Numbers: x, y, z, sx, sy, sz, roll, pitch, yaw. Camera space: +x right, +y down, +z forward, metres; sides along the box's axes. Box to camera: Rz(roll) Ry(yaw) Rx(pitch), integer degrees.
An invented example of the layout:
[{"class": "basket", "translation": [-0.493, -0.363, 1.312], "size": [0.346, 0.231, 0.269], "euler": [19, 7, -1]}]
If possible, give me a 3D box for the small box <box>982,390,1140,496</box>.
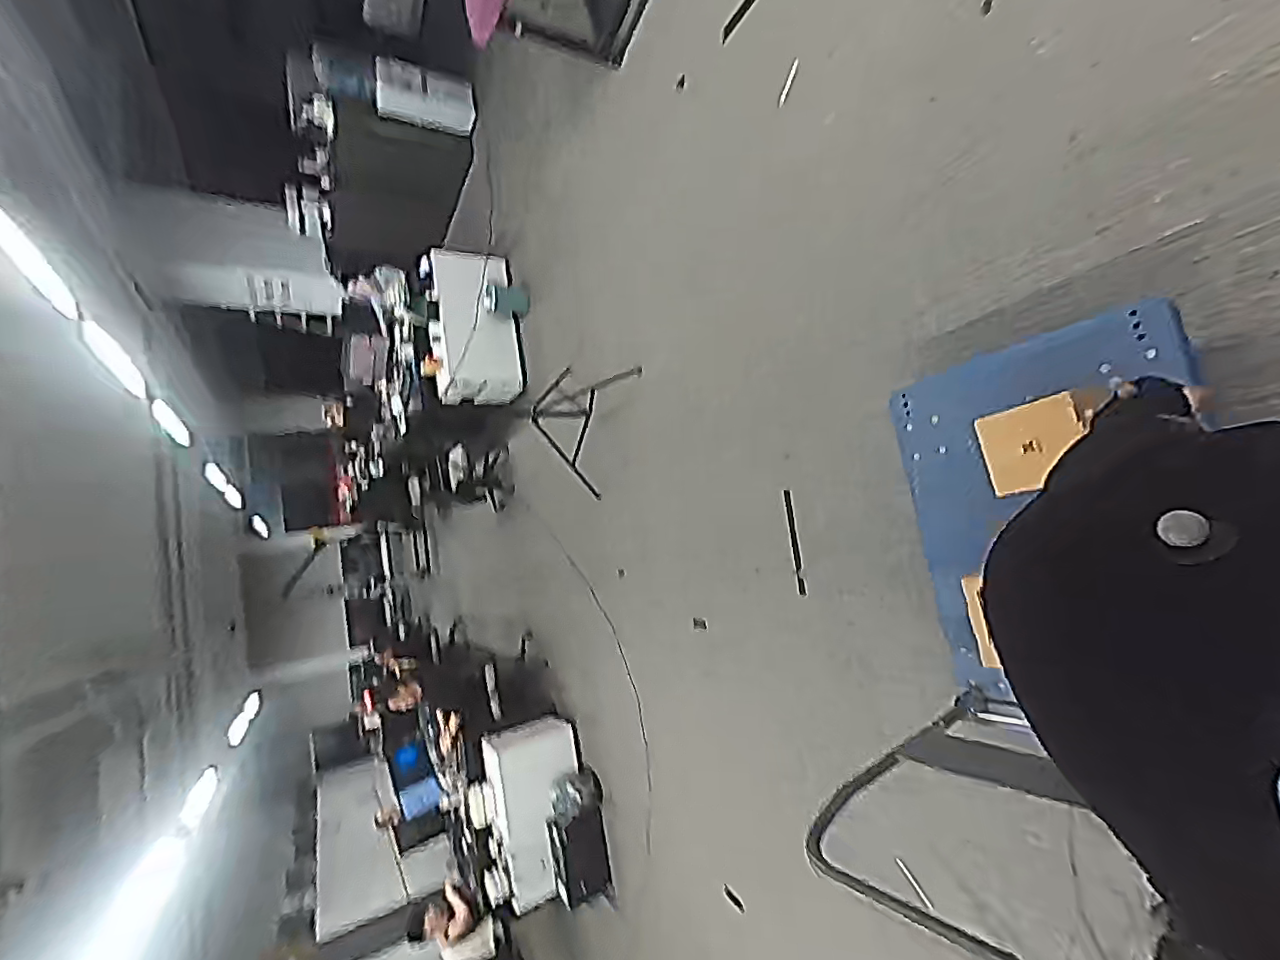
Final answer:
[{"class": "small box", "translation": [0.829, -0.069, 1.071], "size": [0.179, 0.176, 0.168], "euler": [-27, 73, 57]}]
